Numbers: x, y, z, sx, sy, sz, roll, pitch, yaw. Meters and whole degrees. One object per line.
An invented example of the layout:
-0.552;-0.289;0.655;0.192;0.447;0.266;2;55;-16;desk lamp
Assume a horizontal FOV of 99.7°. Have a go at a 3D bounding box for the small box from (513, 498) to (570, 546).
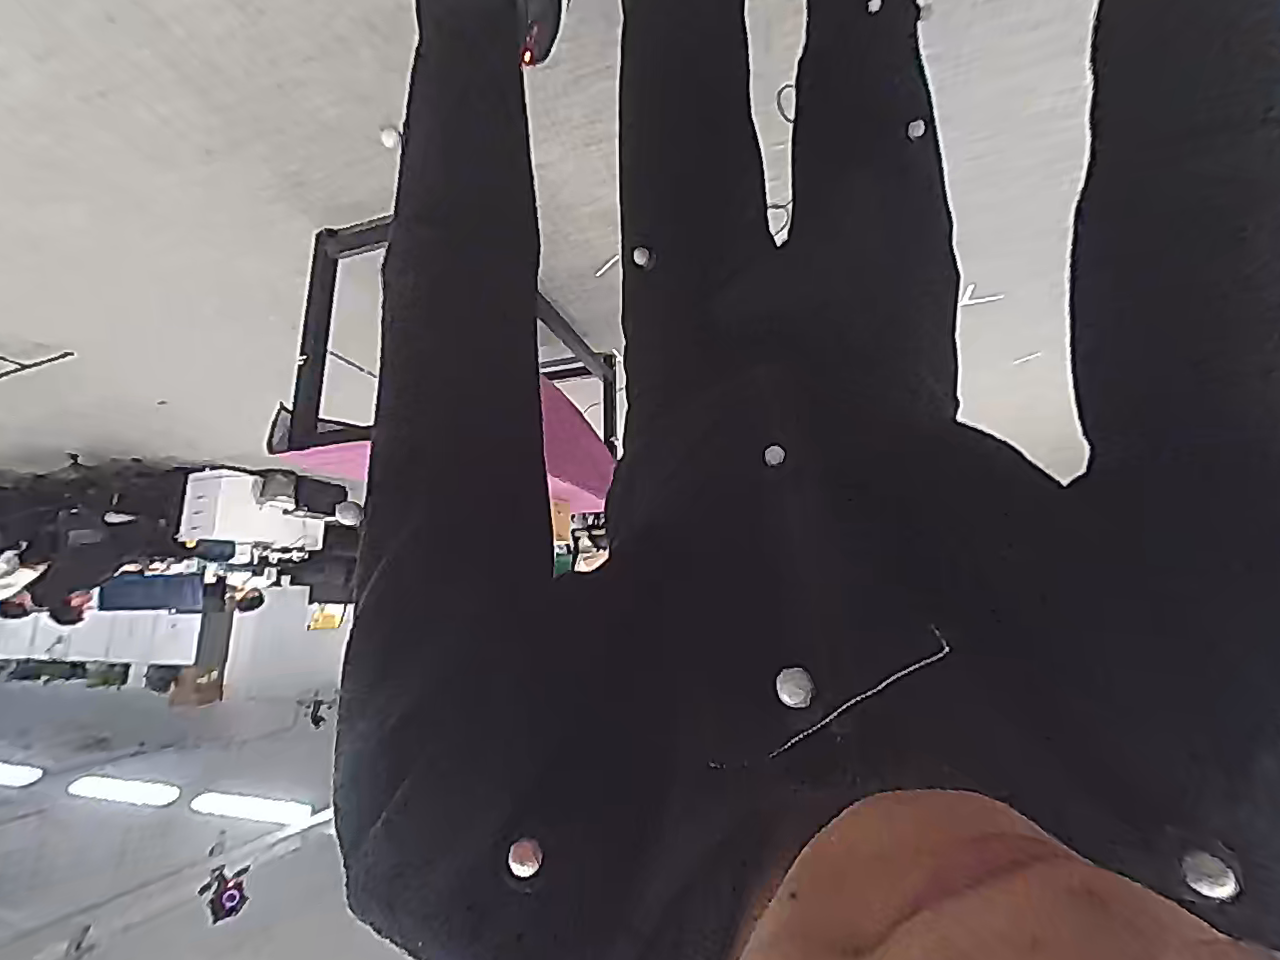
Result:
-0.403;0.177;2.234;0.179;0.176;0.168;-8;166;26;small box
